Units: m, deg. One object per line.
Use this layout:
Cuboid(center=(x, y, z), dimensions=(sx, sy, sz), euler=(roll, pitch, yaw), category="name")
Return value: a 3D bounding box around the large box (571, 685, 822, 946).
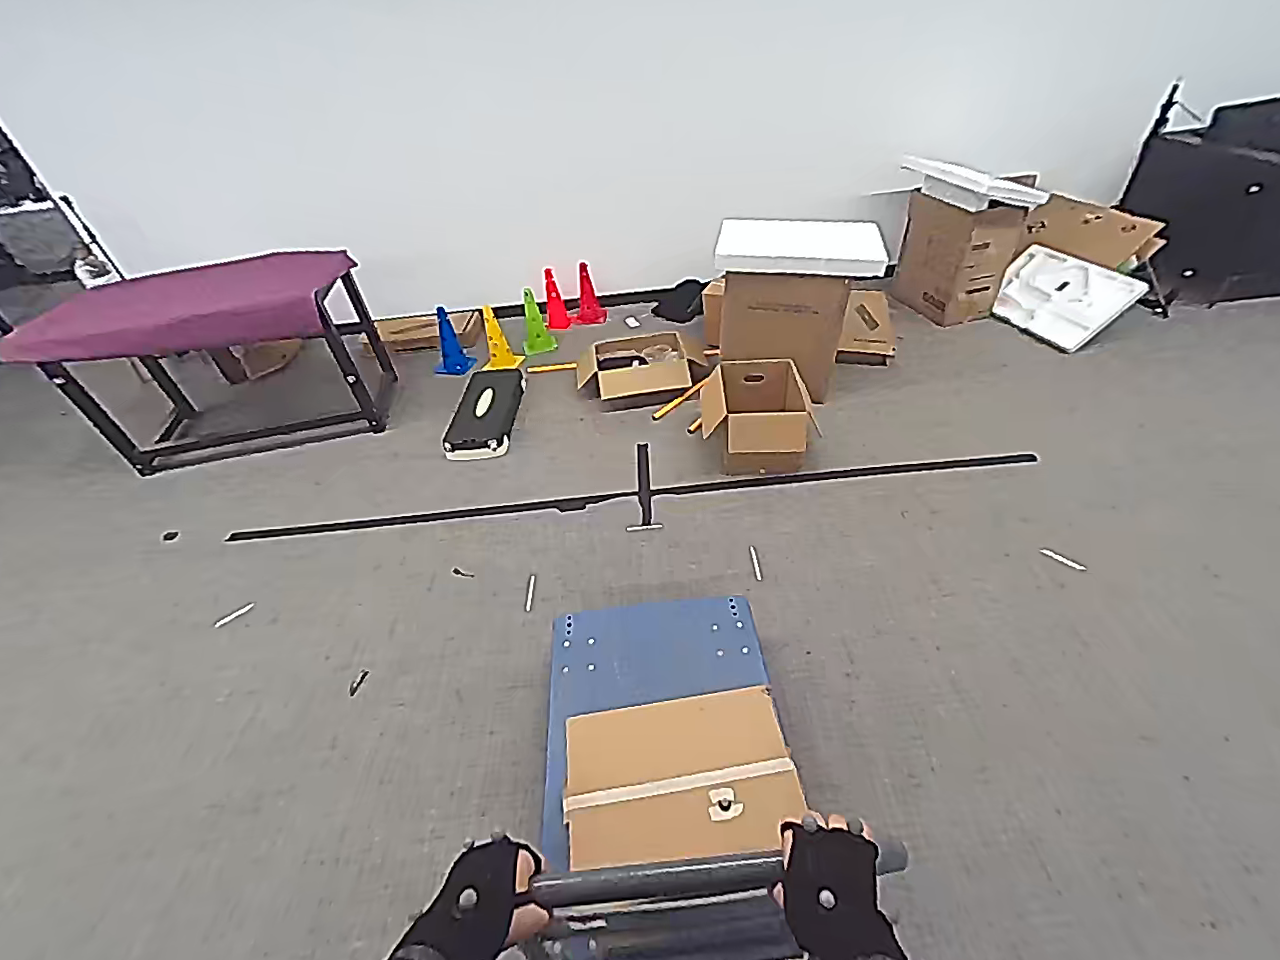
Cuboid(center=(0.089, 0.656, 1.065), dimensions=(0.408, 0.320, 0.320), euler=(-8, 41, -4), category="large box")
